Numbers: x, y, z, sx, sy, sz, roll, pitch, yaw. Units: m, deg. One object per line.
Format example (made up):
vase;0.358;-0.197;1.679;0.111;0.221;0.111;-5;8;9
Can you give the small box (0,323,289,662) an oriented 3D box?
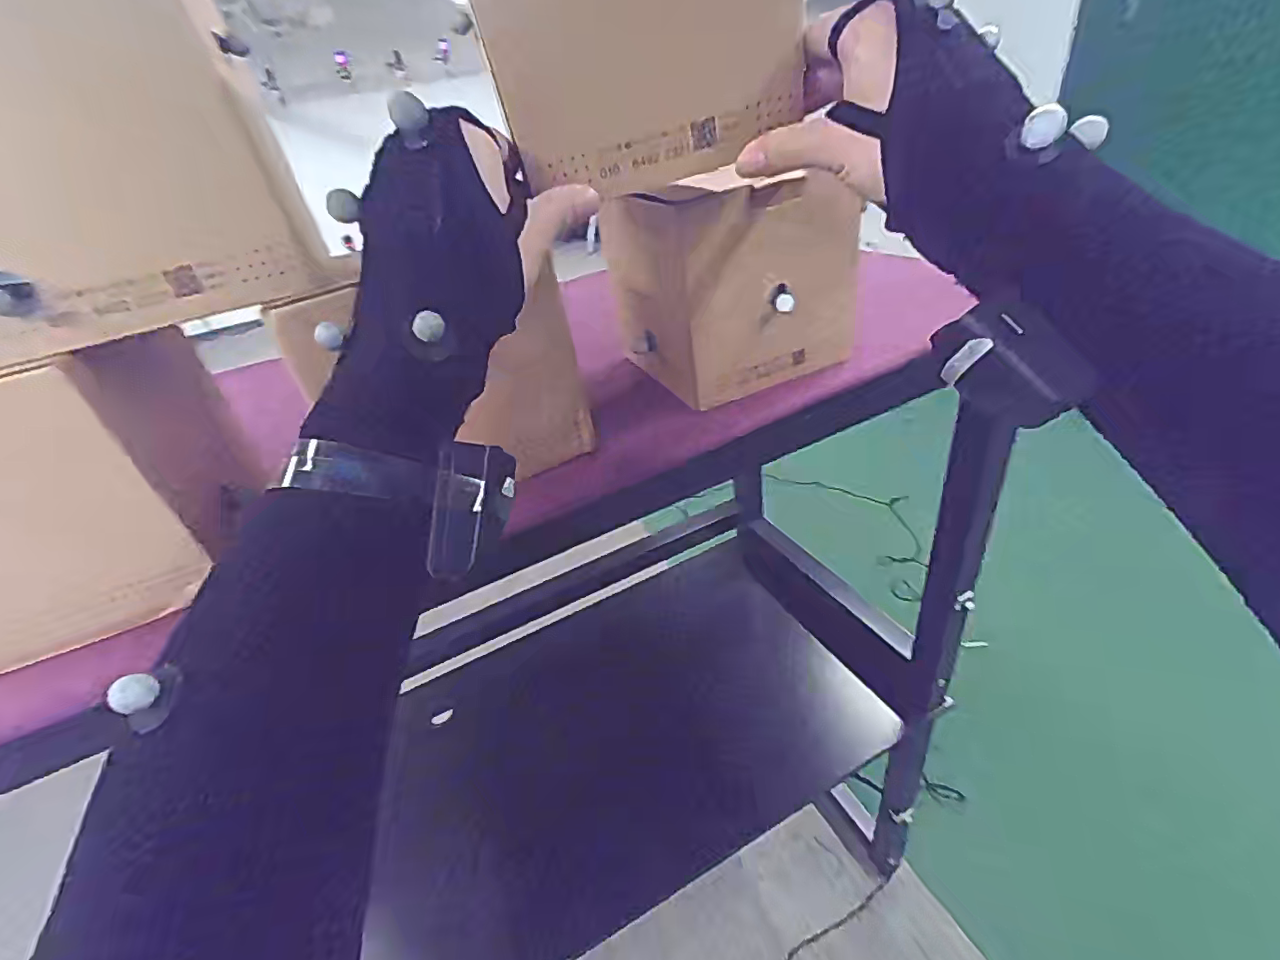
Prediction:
small box;-0.387;-0.003;0.373;0.179;0.176;0.168;-19;34;-13

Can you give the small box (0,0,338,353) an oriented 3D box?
small box;-0.307;-0.190;0.329;0.168;0.176;0.179;-22;33;-16
